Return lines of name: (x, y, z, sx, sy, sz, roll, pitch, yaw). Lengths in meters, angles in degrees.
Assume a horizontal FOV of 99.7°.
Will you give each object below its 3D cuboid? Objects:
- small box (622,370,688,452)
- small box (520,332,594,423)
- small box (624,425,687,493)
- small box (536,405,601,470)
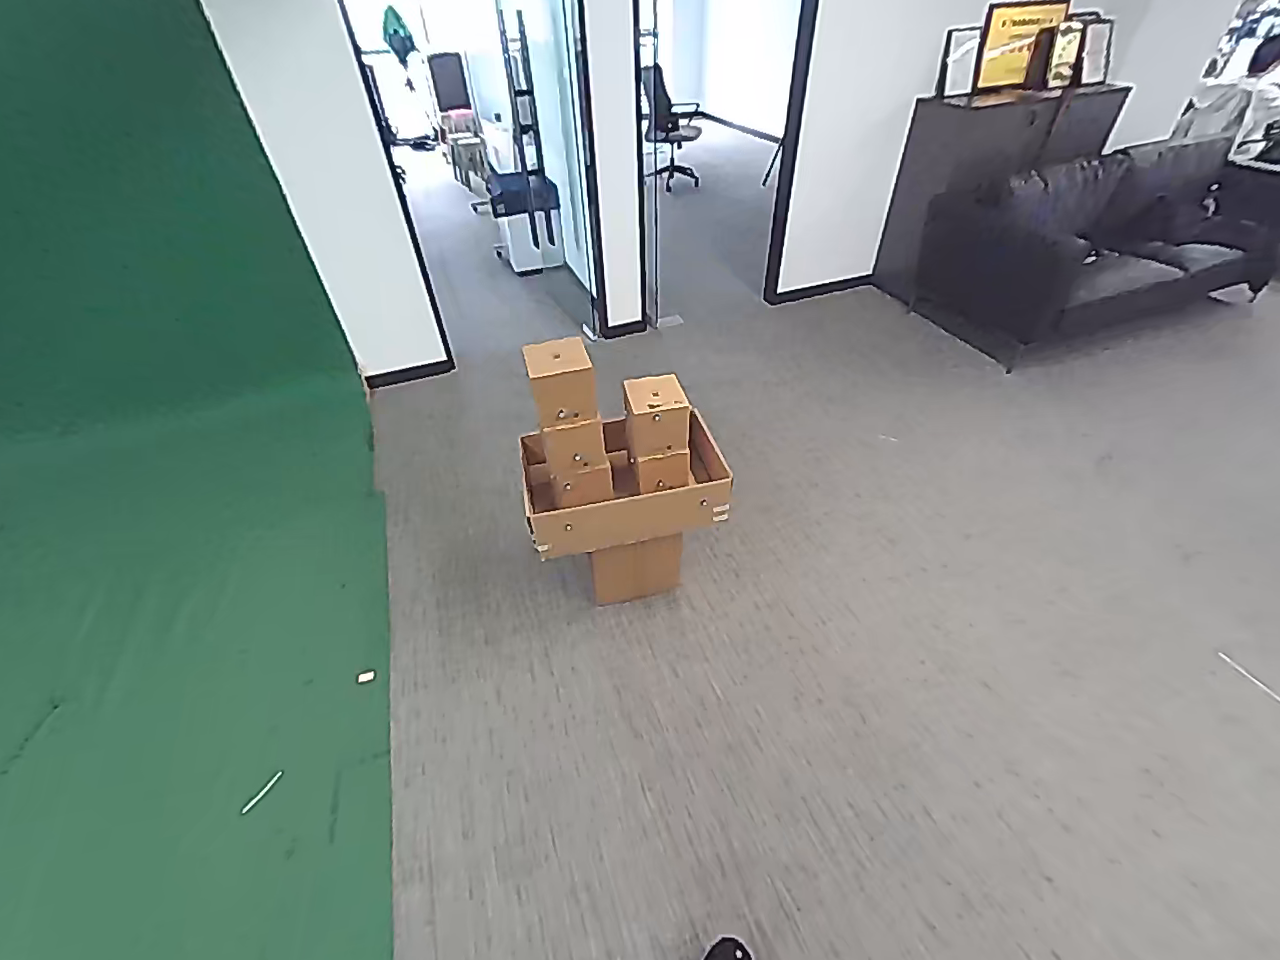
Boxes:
small box: (0.039, -0.207, 1.633, 0.168, 0.176, 0.179, -9, 45, -8)
small box: (-0.225, -0.279, 1.475, 0.168, 0.176, 0.179, -12, 44, -10)
small box: (0.045, -0.083, 1.741, 0.168, 0.176, 0.179, -10, 46, -10)
small box: (-0.214, -0.156, 1.582, 0.168, 0.176, 0.179, -13, 45, -11)
